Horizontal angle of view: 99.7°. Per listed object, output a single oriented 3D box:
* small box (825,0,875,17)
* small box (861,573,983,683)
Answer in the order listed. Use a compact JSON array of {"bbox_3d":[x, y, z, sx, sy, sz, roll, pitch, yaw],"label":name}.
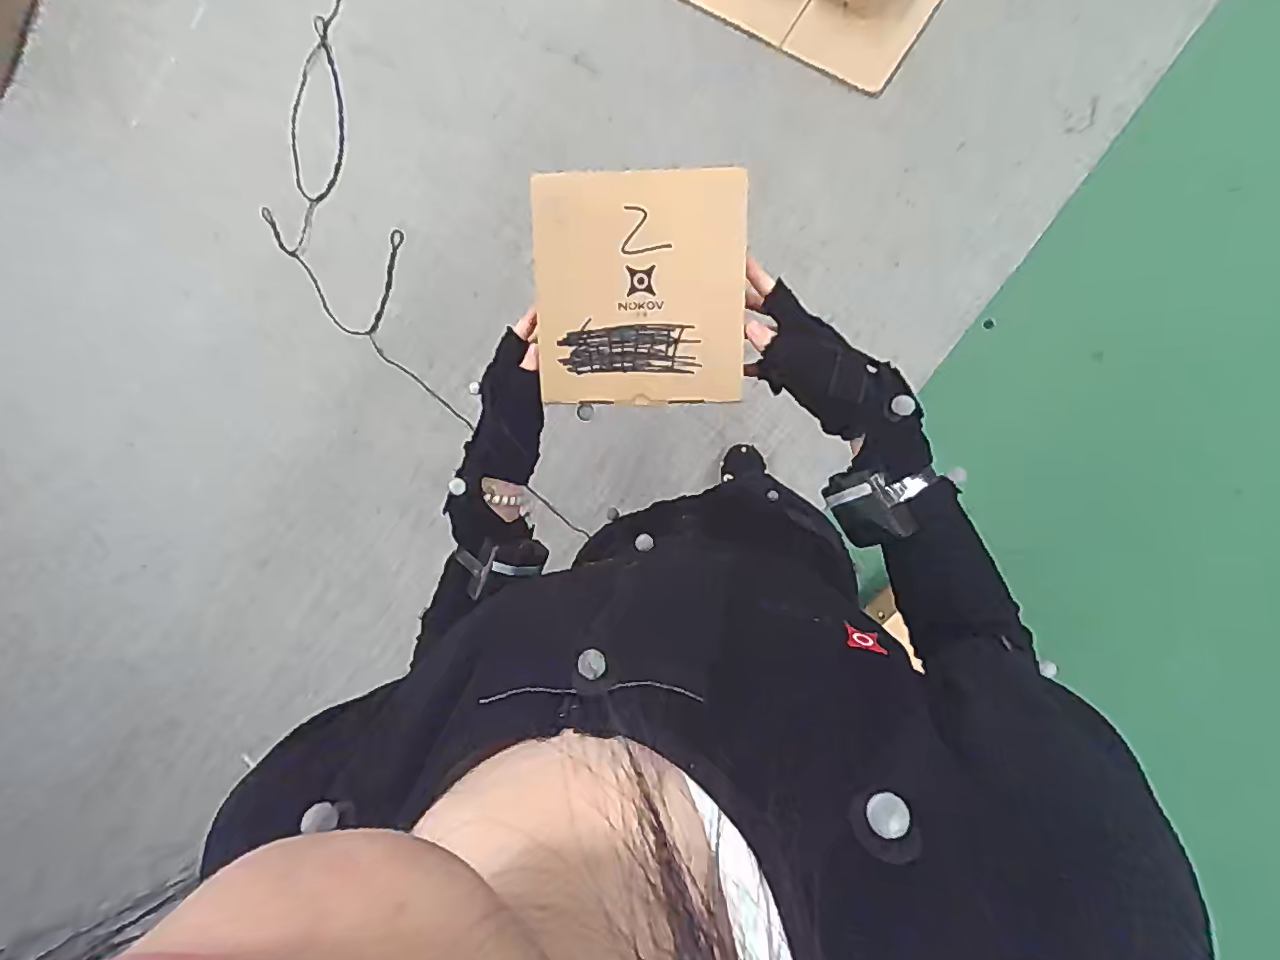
[{"bbox_3d":[0.554,-1.330,1.347,0.168,0.176,0.179,34,94,9],"label":"small box"},{"bbox_3d":[0.667,0.347,1.308,0.168,0.176,0.179,44,96,7],"label":"small box"}]
